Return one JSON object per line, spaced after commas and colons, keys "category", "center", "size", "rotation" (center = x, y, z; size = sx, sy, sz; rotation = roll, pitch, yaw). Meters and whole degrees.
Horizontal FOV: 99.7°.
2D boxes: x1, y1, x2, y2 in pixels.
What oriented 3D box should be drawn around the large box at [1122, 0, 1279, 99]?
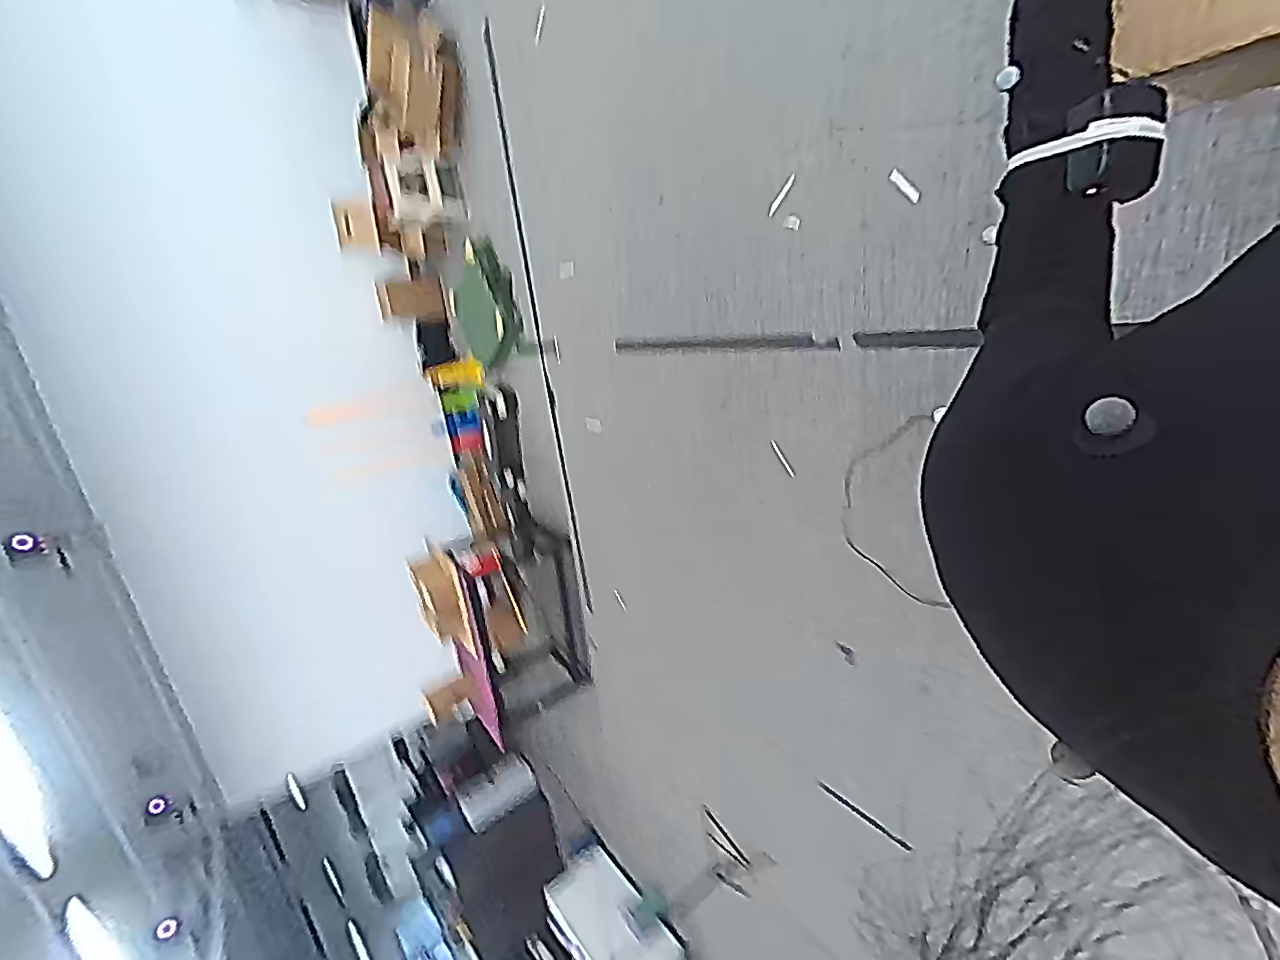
{"category": "large box", "center": [0.554, -0.452, 0.272], "size": [0.408, 0.320, 0.320], "rotation": [14, 121, 51]}
